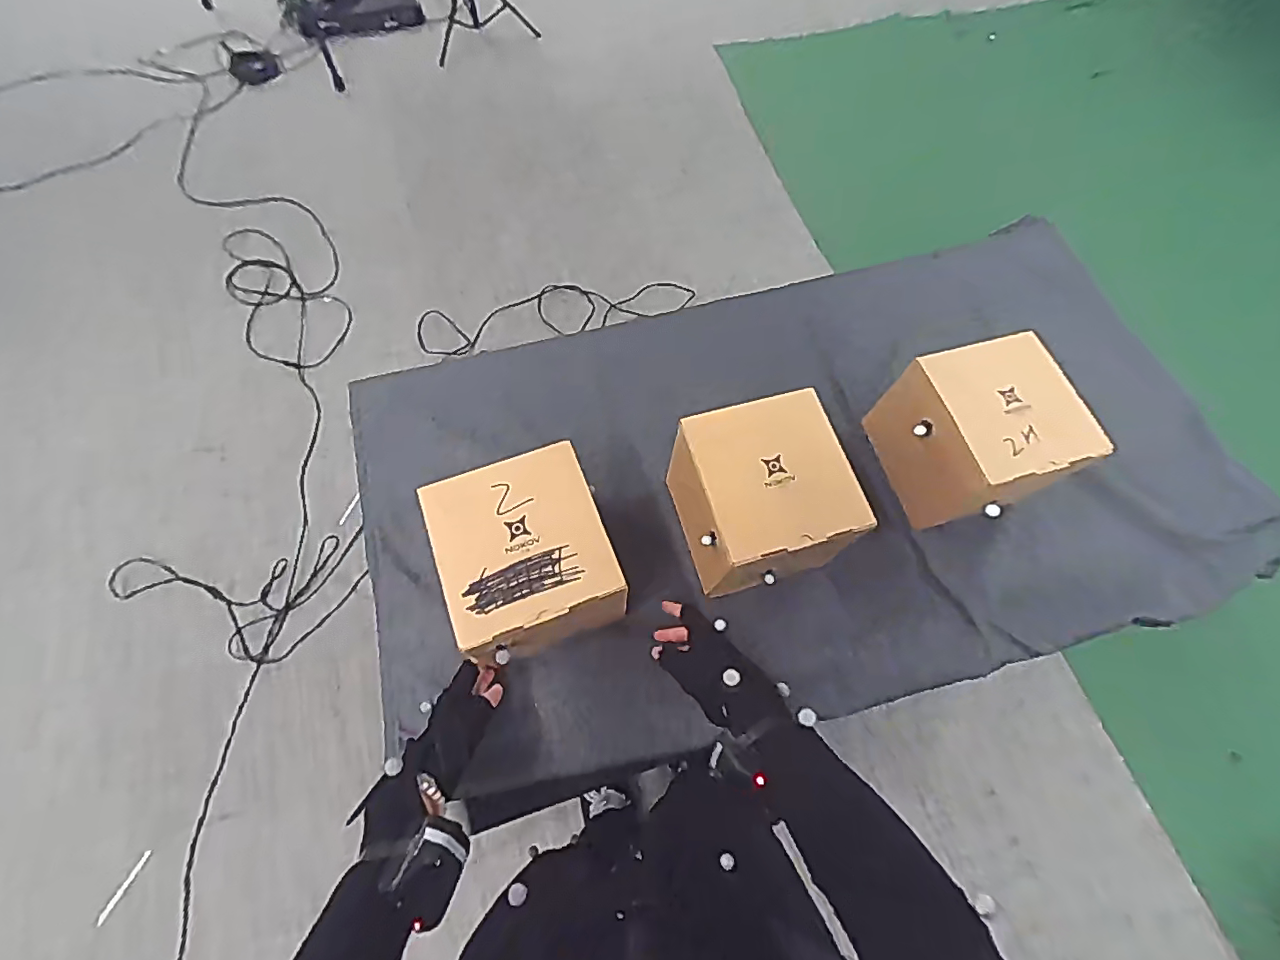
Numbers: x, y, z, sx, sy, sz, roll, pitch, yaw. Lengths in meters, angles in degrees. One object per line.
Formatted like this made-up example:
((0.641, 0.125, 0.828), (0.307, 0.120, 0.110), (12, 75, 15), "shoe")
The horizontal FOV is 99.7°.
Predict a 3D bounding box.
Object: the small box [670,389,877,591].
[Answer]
((0.144, 0.019, 0.659), (0.168, 0.176, 0.179), (-14, 70, -10), "small box")

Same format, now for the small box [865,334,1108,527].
((0.428, -0.058, 0.706), (0.168, 0.176, 0.179), (-14, 69, -9), "small box")
